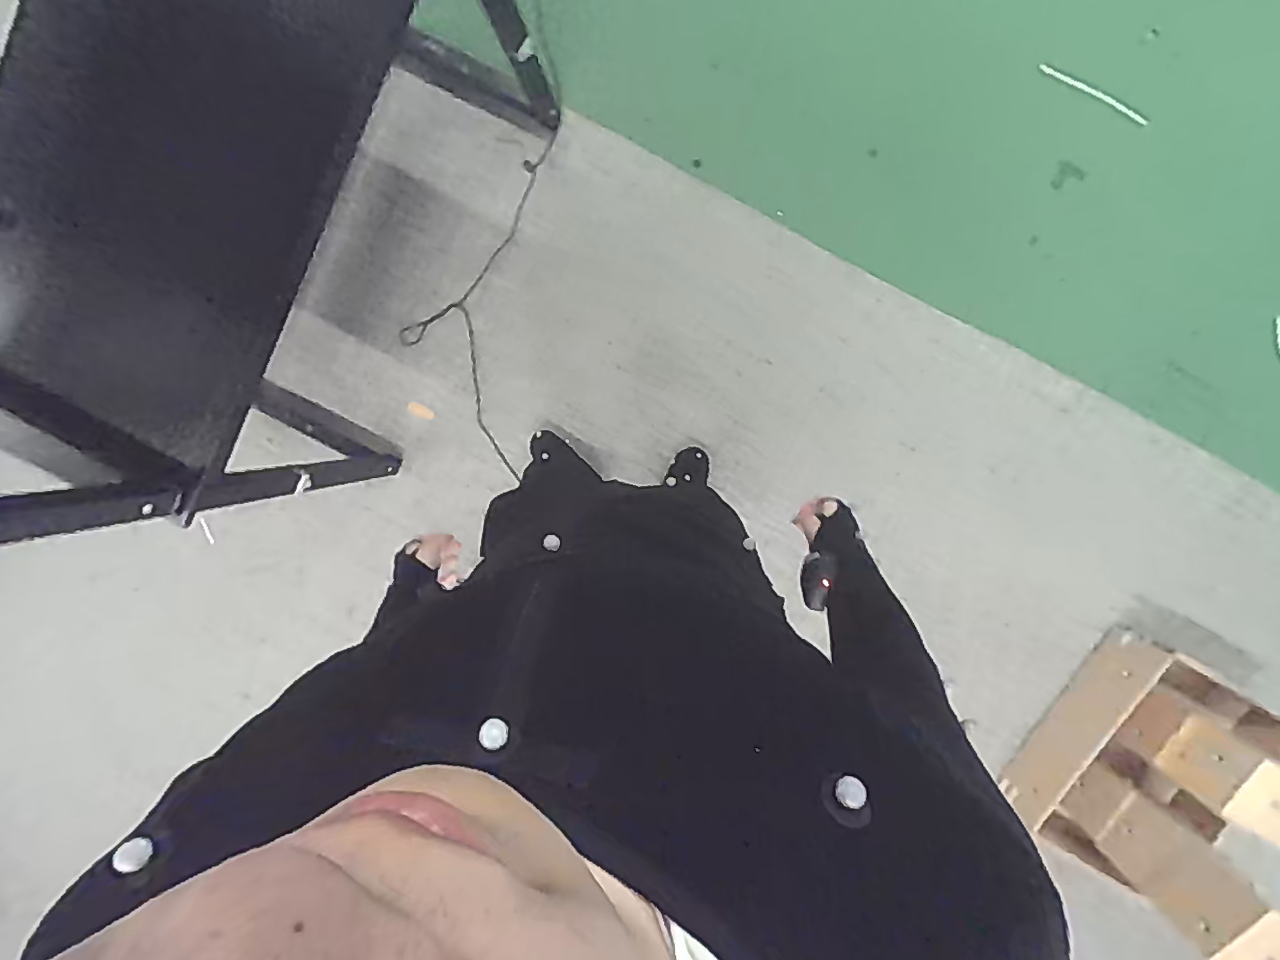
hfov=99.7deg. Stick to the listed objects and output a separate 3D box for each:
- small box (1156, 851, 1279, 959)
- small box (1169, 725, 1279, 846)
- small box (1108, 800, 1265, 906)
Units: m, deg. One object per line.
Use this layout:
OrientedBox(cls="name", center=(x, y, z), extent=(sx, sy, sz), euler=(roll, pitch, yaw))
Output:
OrientedBox(cls="small box", center=(1.254, 0.942, 1.133), extent=(0.168, 0.176, 0.179), euler=(41, 97, 1))
OrientedBox(cls="small box", center=(1.422, 0.710, 1.266), extent=(0.179, 0.176, 0.168), euler=(28, 99, 2))
OrientedBox(cls="small box", center=(1.288, 0.926, 1.295), extent=(0.168, 0.176, 0.179), euler=(33, 97, 2))
